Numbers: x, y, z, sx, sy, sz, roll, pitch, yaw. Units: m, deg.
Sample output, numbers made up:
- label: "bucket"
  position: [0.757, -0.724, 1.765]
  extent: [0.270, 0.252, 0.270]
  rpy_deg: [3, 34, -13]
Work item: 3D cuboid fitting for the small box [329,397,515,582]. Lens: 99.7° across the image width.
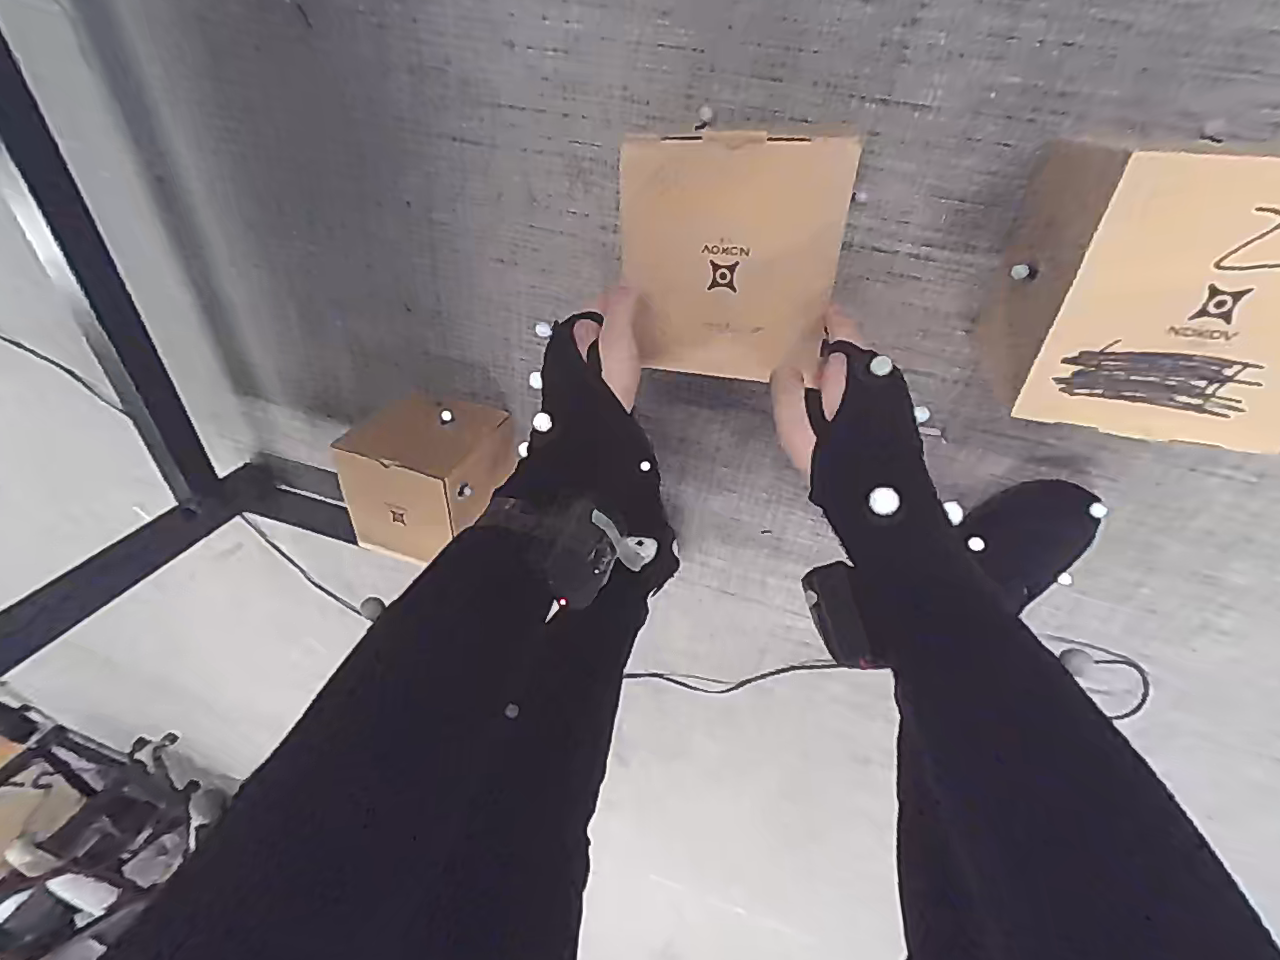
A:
- label: "small box"
  position: [-0.290, 0.007, 0.764]
  extent: [0.168, 0.176, 0.179]
  rpy_deg: [14, 126, 12]
